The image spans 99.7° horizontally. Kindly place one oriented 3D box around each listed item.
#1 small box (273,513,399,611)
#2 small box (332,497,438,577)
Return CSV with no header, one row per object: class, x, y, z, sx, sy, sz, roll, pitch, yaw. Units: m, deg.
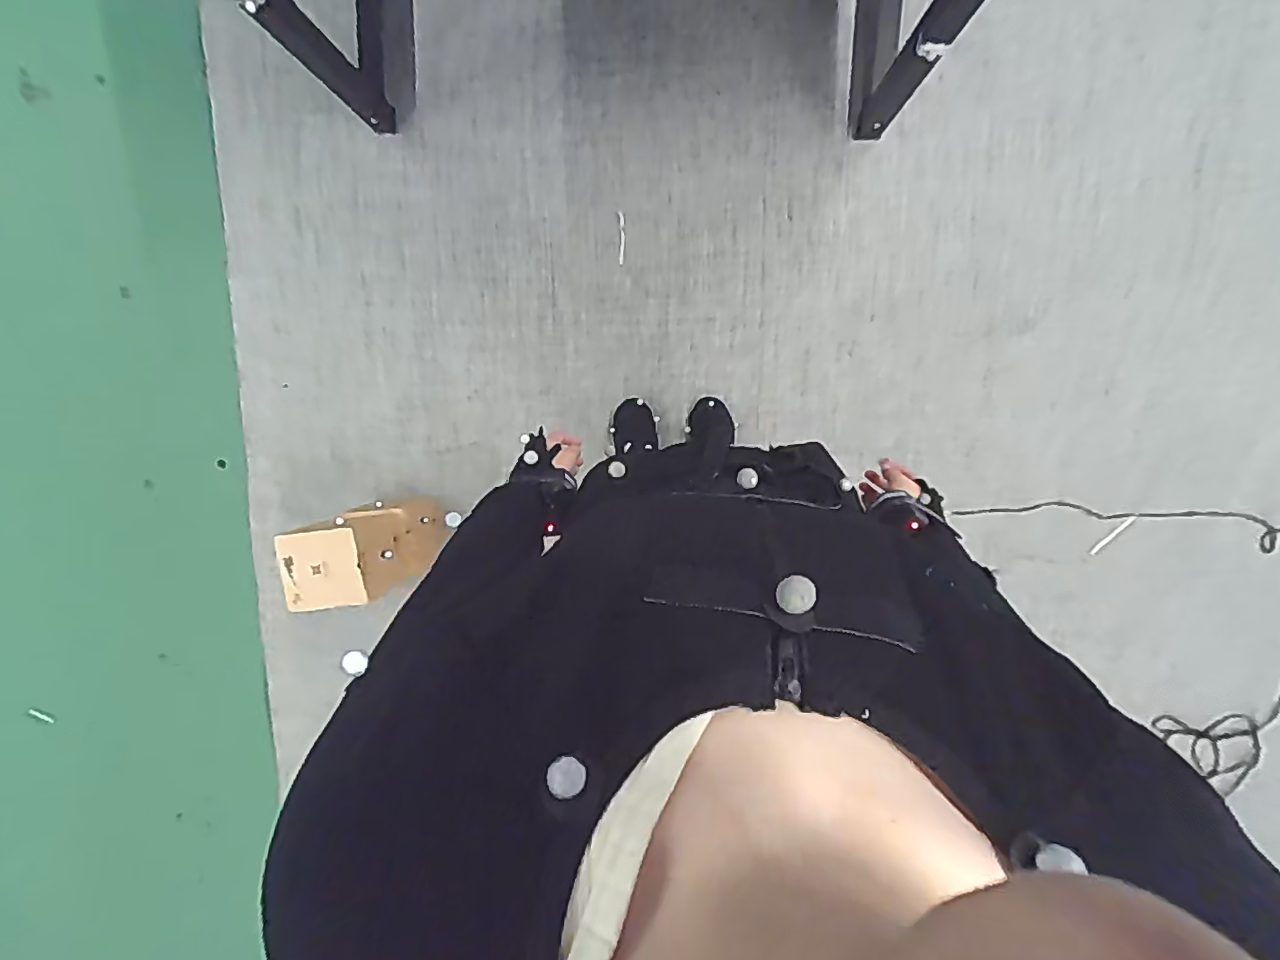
small box,-0.648,0.172,1.179,0.179,0.176,0.168,-7,96,3
small box,-0.617,0.140,1.338,0.179,0.176,0.168,-6,96,5
